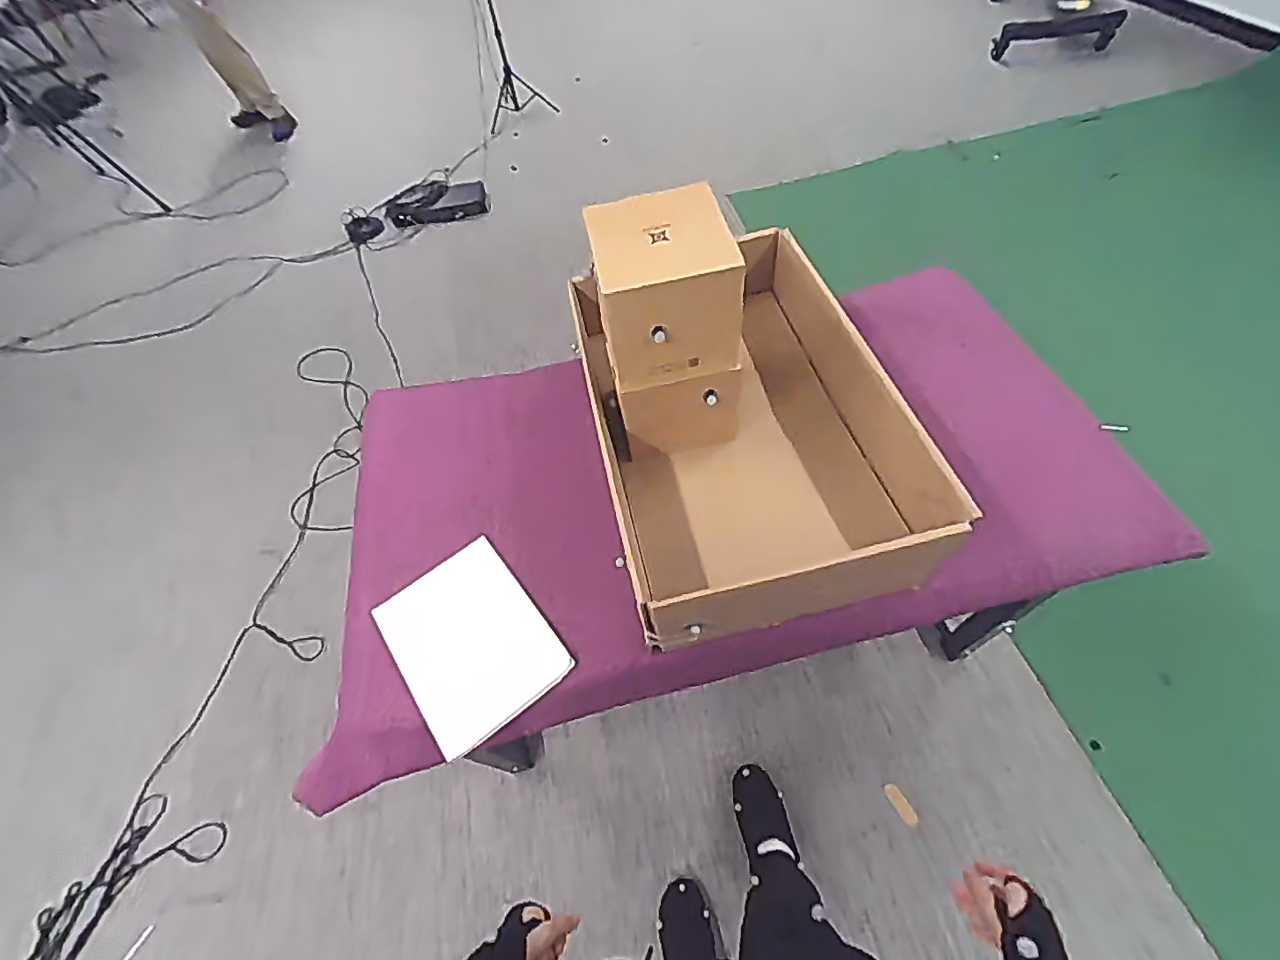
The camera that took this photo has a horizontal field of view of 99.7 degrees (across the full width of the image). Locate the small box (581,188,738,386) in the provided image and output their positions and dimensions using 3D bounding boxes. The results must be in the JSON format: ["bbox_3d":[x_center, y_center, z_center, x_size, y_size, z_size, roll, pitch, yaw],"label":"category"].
[{"bbox_3d":[0.027,-0.244,0.715,0.168,0.176,0.179,-13,56,-1],"label":"small box"}]
